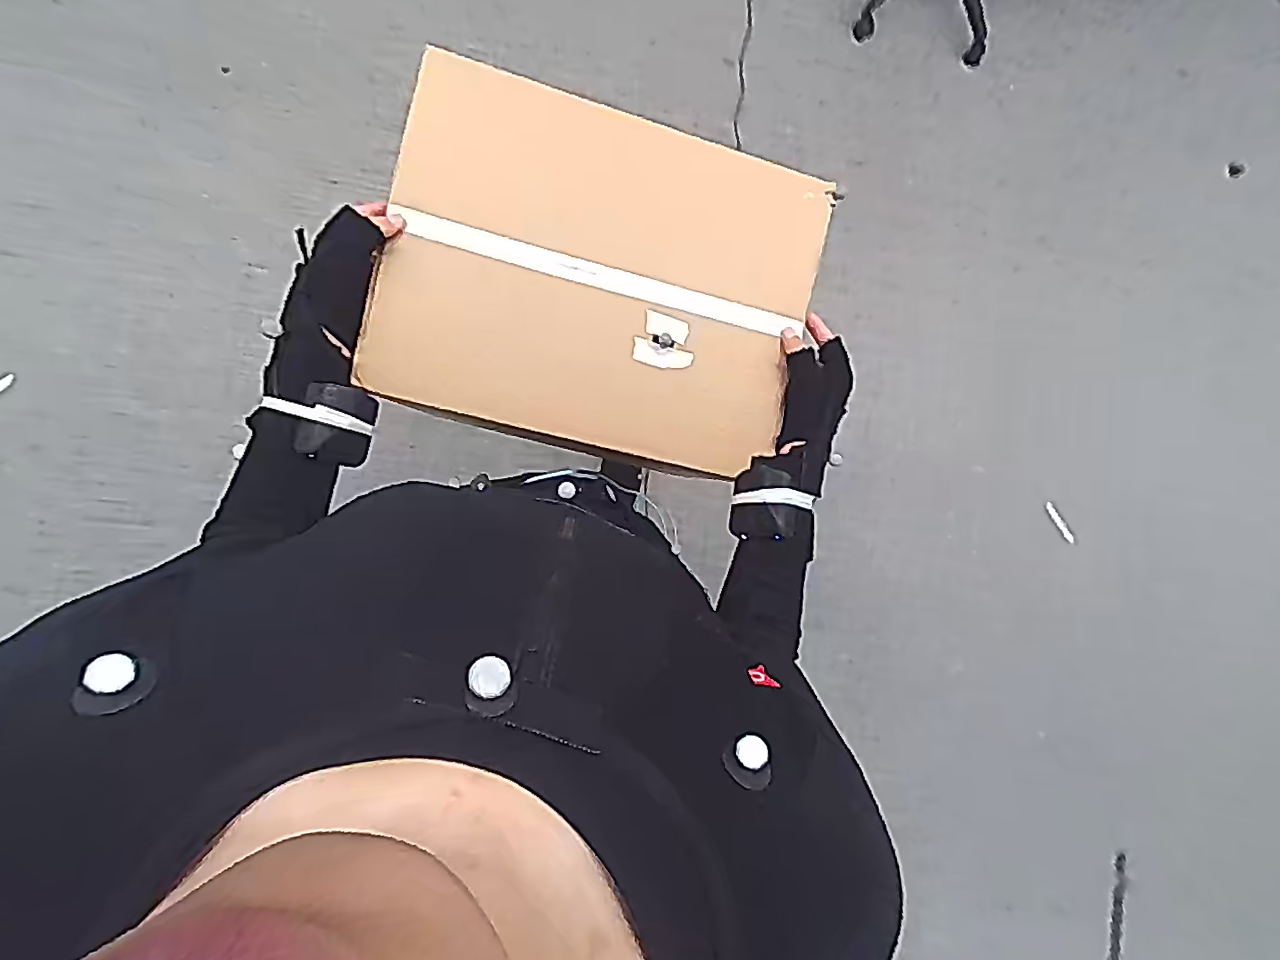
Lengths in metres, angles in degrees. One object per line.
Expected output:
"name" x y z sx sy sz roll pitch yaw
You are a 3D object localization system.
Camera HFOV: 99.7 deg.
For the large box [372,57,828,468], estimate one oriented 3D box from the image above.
"large box" -0.052 -0.205 0.672 0.408 0.320 0.320 13 91 -10
